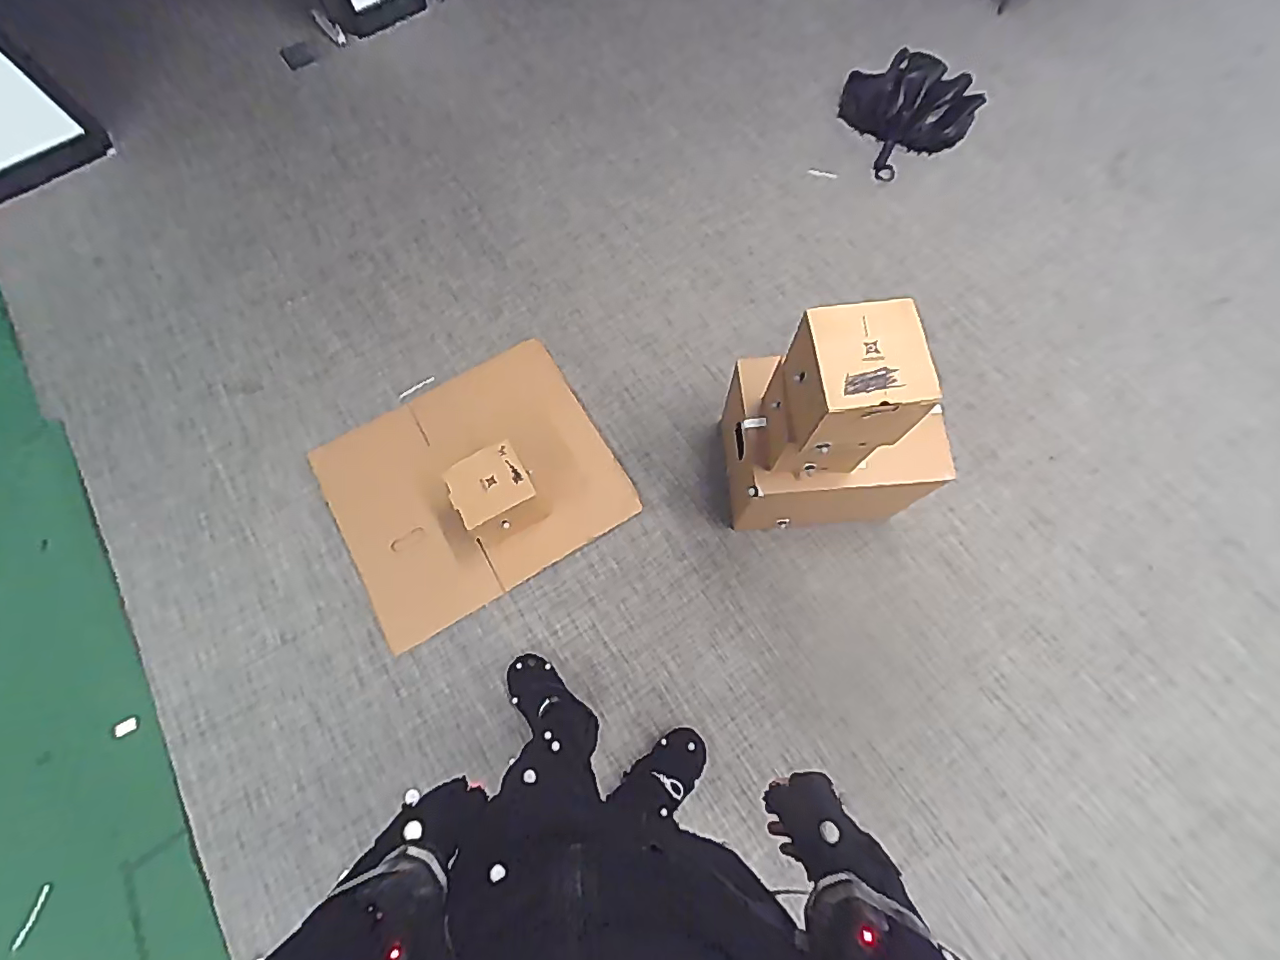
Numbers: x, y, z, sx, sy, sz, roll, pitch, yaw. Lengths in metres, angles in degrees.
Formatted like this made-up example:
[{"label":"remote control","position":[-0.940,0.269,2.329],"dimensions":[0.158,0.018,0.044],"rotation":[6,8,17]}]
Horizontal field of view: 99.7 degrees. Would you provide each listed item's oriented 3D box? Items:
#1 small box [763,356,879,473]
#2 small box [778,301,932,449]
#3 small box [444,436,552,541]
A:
[{"label":"small box","position":[0.336,-0.122,1.038],"dimensions":[0.168,0.176,0.179],"rotation":[-1,74,2]},{"label":"small box","position":[0.335,-0.158,0.877],"dimensions":[0.168,0.176,0.179],"rotation":[-8,73,0]},{"label":"small box","position":[-0.340,0.028,1.320],"dimensions":[0.179,0.176,0.168],"rotation":[-31,71,-7]}]
